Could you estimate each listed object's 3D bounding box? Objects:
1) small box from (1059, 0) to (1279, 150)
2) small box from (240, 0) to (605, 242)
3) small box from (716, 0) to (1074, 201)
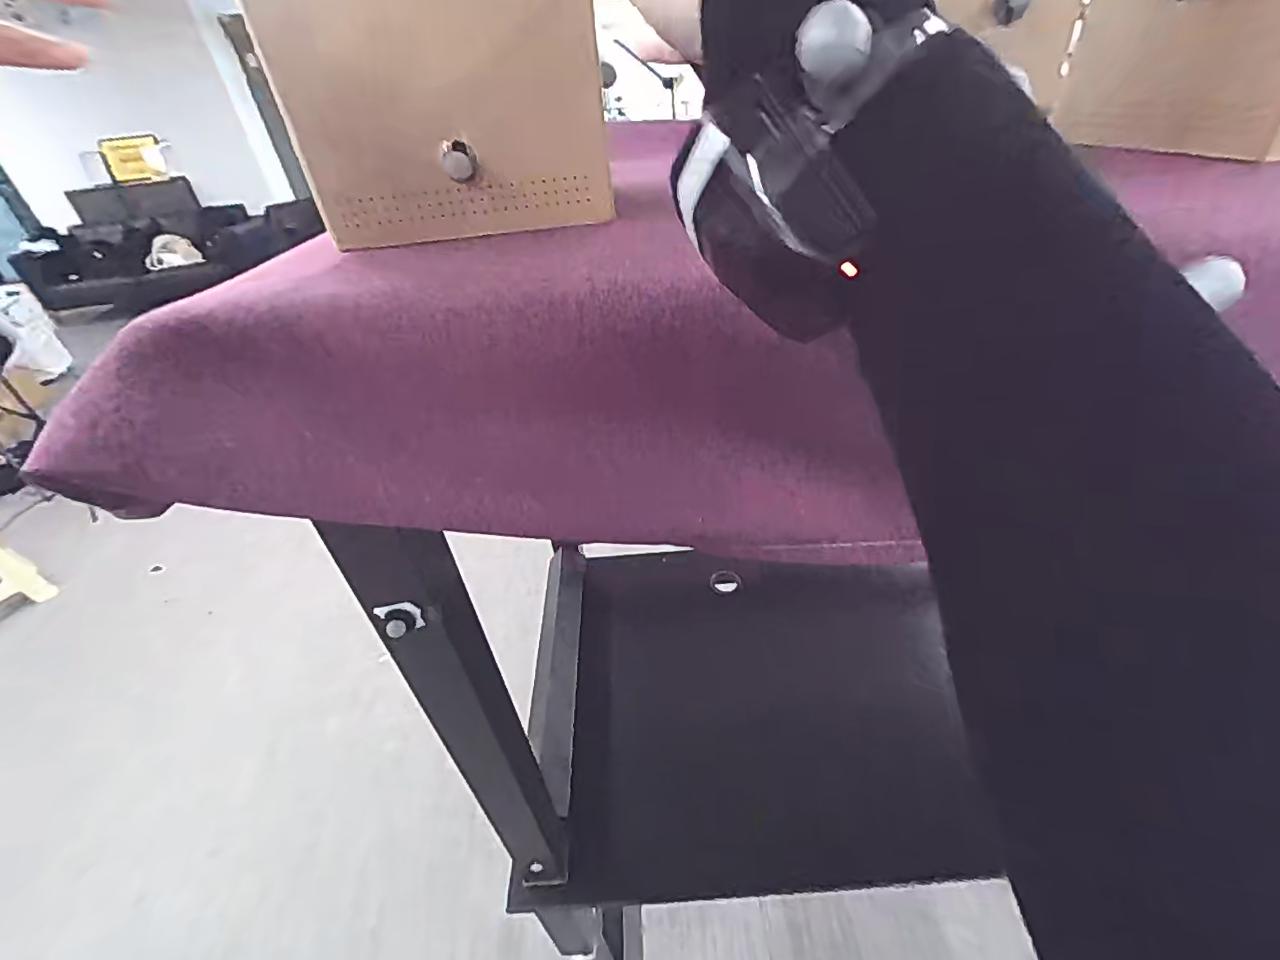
[{"bbox_3d":[0.421,-0.311,0.335,0.168,0.176,0.179,-8,35,-3],"label":"small box"},{"bbox_3d":[-0.117,-0.265,0.348,0.179,0.176,0.168,-7,36,-4],"label":"small box"},{"bbox_3d":[0.150,-0.297,0.357,0.179,0.176,0.168,-7,35,-1],"label":"small box"}]
